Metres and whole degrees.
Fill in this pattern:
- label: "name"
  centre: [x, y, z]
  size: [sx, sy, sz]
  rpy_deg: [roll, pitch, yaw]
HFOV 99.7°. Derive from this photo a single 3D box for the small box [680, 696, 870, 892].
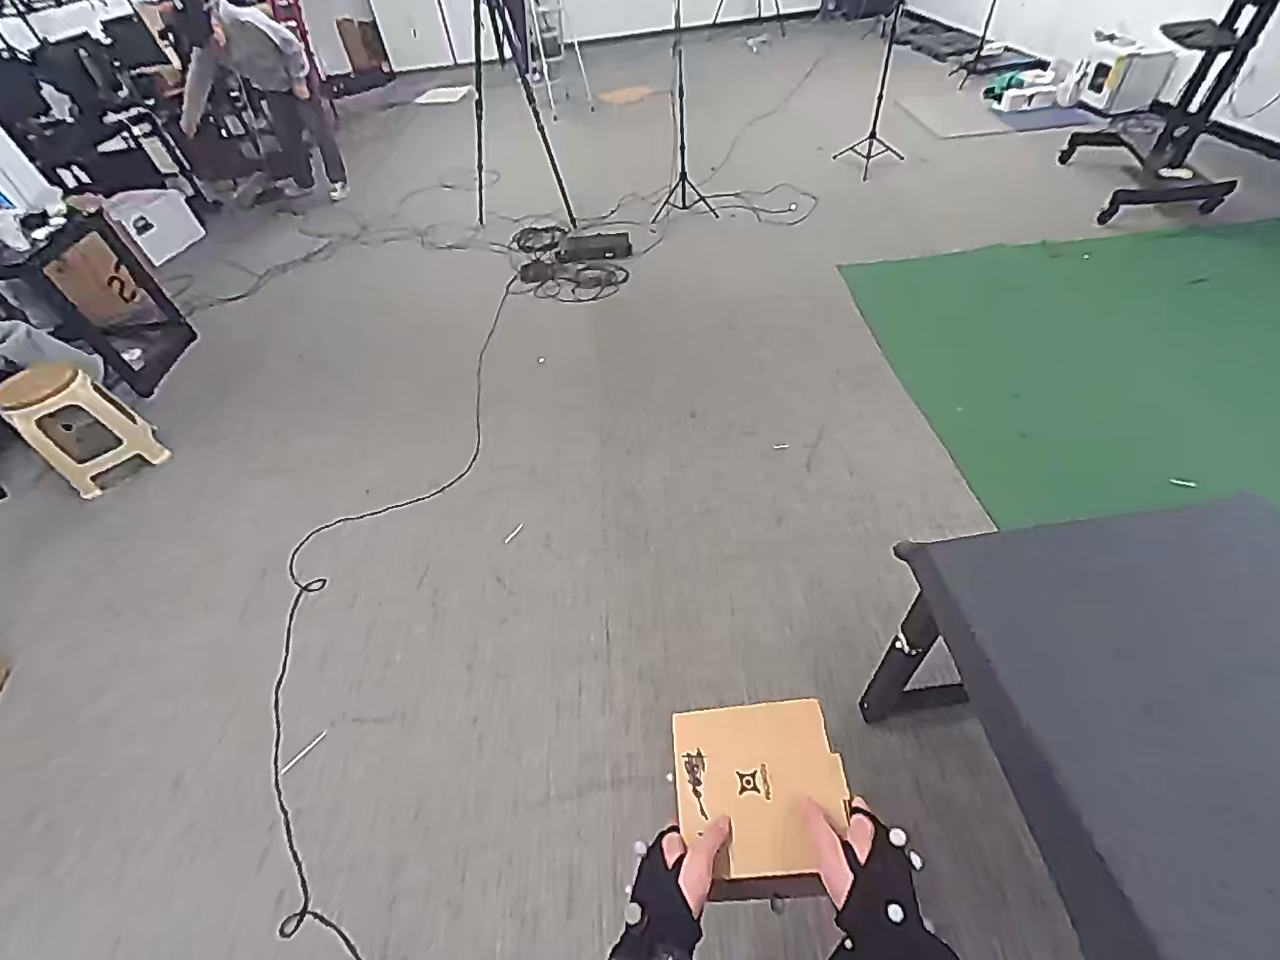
- label: "small box"
  centre: [0.145, 0.370, 0.633]
  size: [0.179, 0.176, 0.168]
  rpy_deg: [-8, 46, 7]
